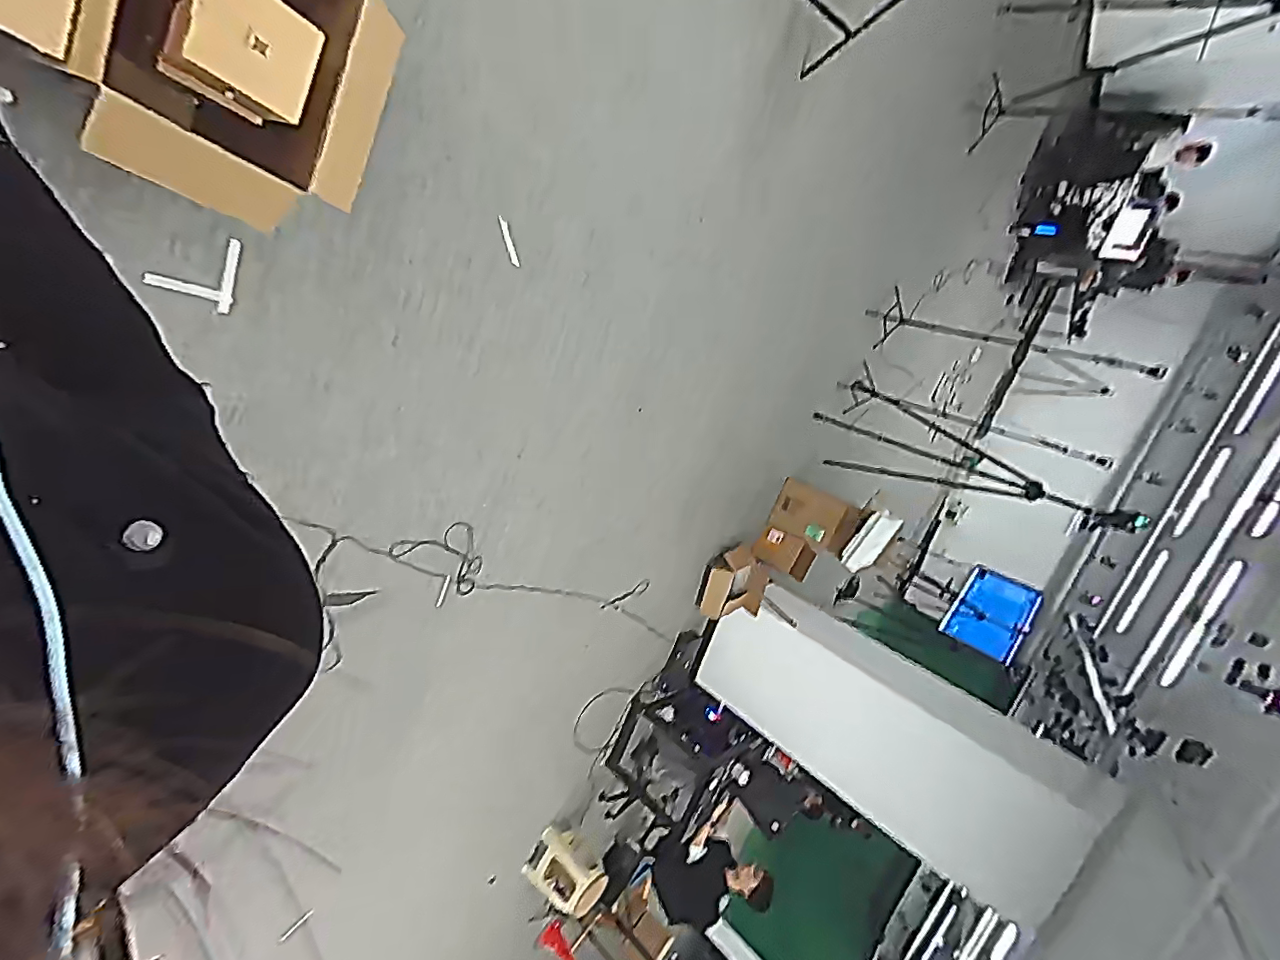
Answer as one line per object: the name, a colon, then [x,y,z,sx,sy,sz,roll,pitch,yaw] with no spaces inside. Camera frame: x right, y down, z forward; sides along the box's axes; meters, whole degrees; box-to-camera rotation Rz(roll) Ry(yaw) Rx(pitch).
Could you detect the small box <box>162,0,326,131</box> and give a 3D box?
small box: [-0.706,-0.765,0.965,0.179,0.176,0.168,12,106,-54]
